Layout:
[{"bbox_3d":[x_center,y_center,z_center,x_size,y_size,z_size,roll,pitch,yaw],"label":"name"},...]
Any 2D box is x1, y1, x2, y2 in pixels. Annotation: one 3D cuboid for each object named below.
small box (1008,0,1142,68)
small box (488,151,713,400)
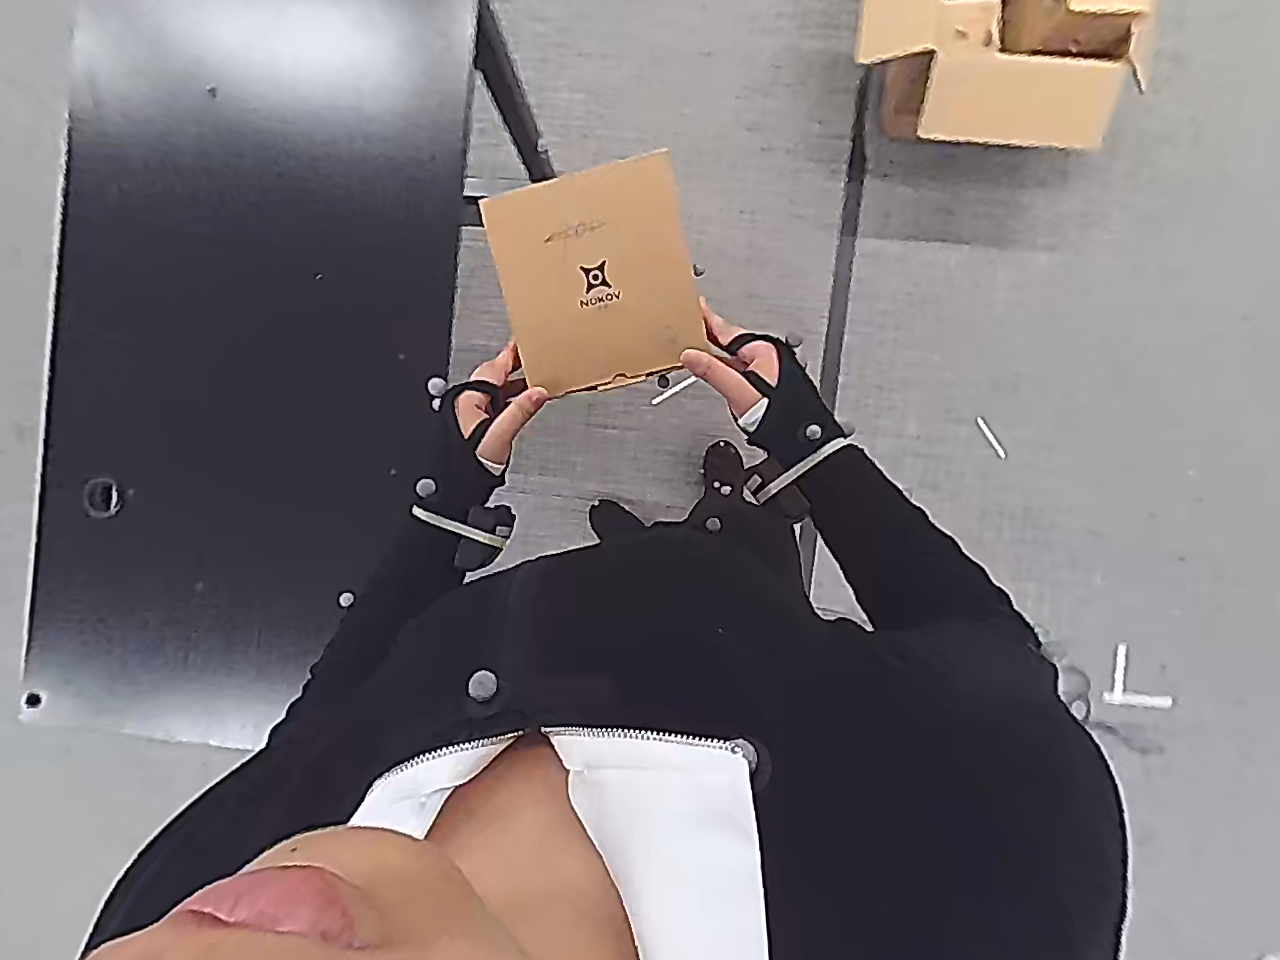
[{"bbox_3d":[0.932,-1.034,1.170,0.168,0.176,0.179,0,91,-1],"label":"small box"},{"bbox_3d":[-0.027,-0.185,0.538,0.168,0.176,0.179,-12,100,5],"label":"small box"}]
